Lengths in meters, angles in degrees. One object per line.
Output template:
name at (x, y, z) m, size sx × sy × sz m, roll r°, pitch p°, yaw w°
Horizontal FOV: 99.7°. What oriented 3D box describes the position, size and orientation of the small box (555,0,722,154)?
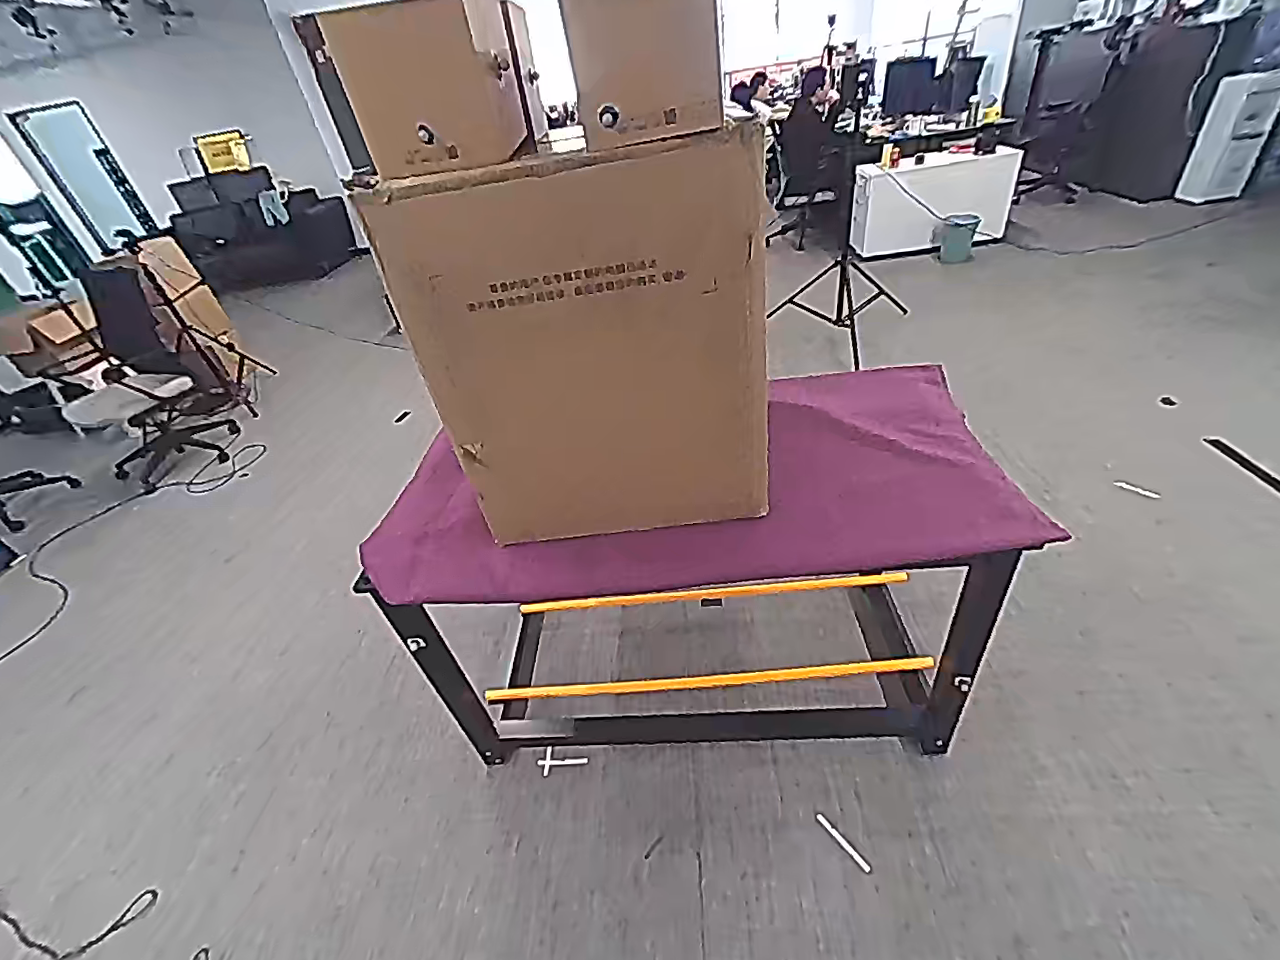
small box at (0.005, -0.508, 0.650) m, size 0.168 × 0.176 × 0.179 m, roll -6°, pitch 39°, yaw 7°
